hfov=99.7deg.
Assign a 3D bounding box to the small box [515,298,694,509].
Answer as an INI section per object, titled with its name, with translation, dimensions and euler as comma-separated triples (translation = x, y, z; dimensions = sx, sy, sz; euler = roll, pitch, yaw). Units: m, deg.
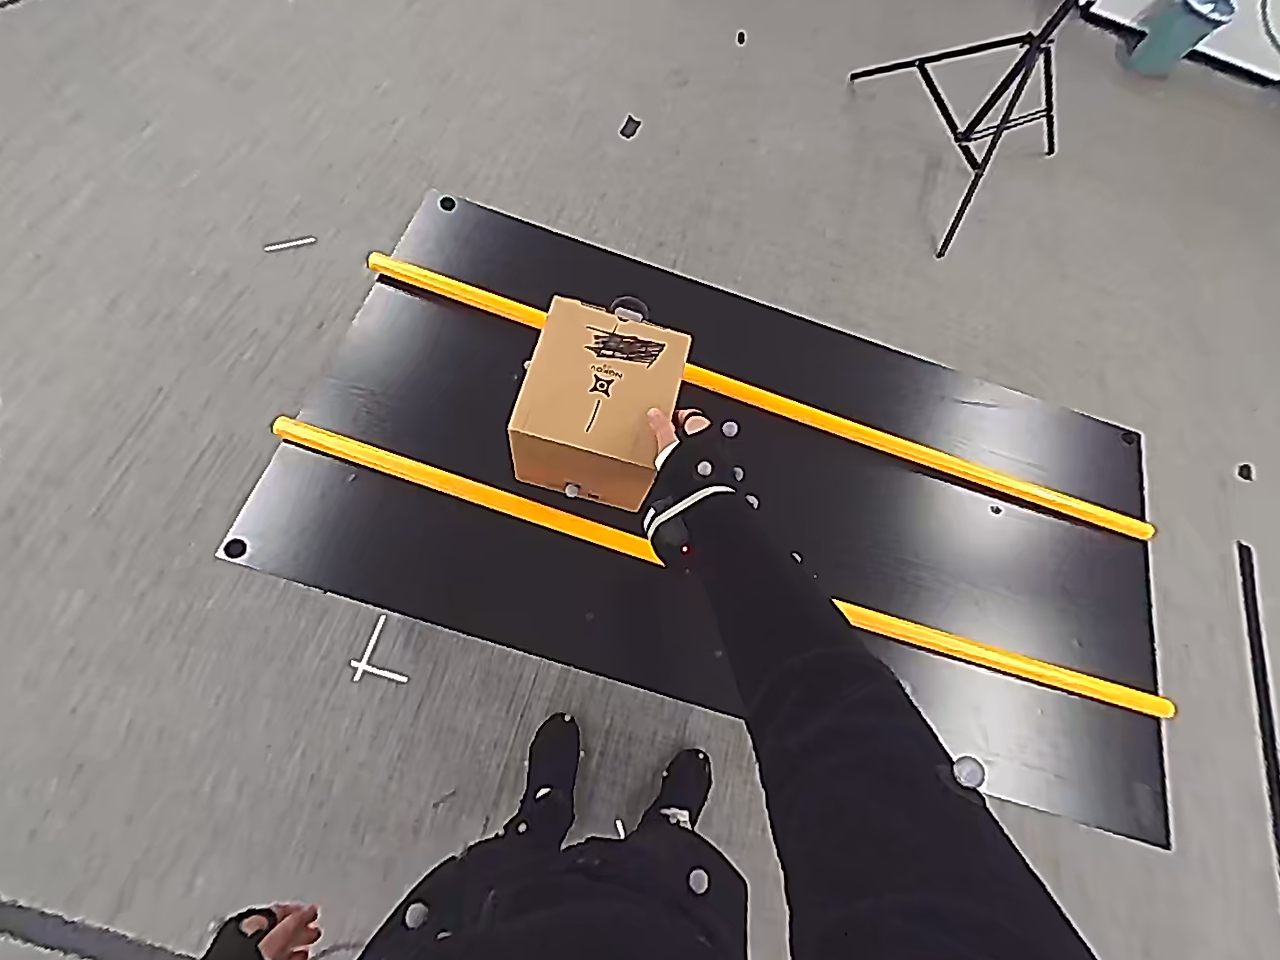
[small box]
translation = -0.046, -0.083, 0.669
dimensions = 0.168, 0.176, 0.179
euler = 16, 70, -3
